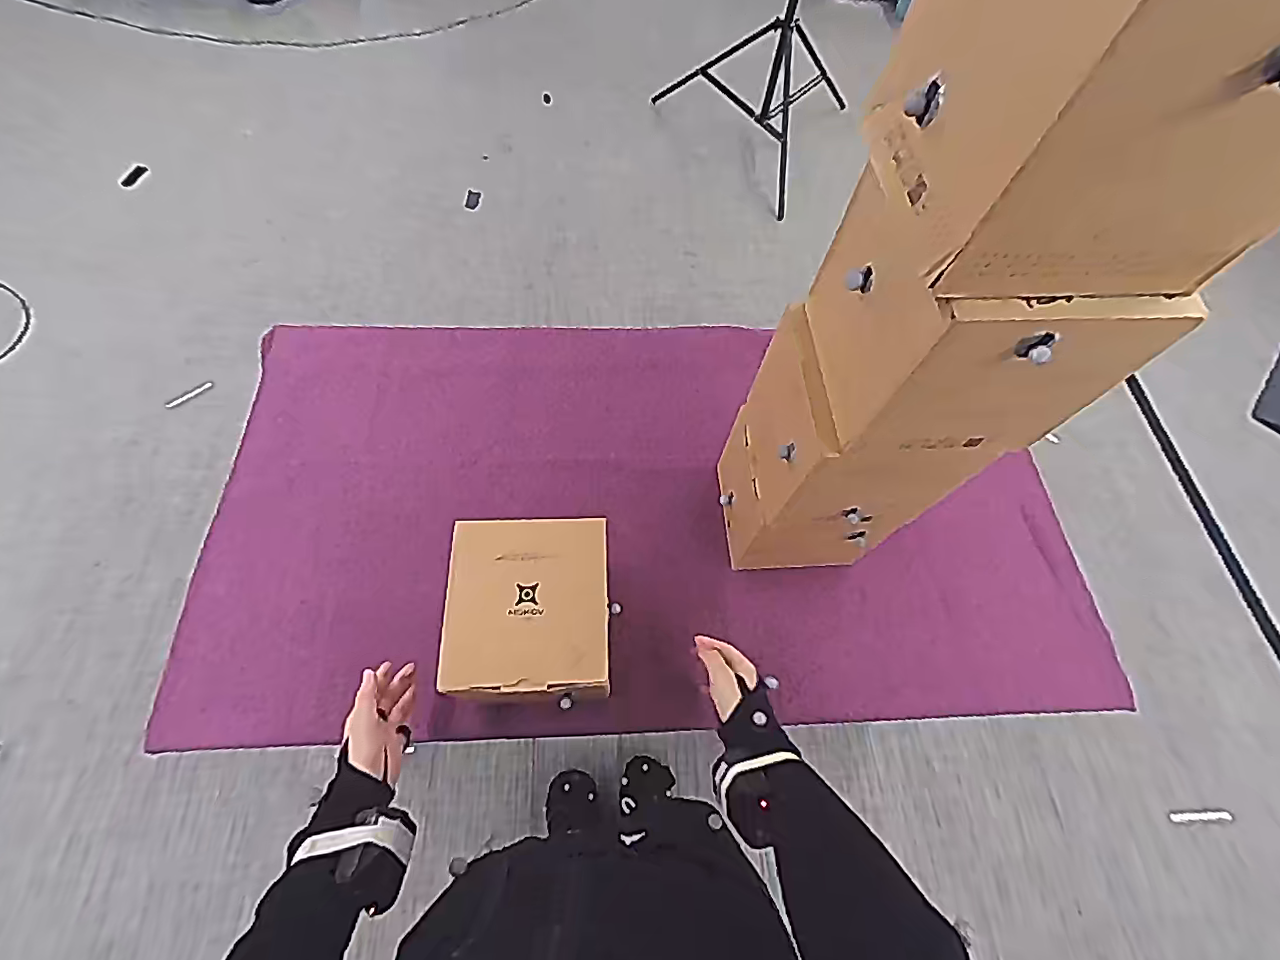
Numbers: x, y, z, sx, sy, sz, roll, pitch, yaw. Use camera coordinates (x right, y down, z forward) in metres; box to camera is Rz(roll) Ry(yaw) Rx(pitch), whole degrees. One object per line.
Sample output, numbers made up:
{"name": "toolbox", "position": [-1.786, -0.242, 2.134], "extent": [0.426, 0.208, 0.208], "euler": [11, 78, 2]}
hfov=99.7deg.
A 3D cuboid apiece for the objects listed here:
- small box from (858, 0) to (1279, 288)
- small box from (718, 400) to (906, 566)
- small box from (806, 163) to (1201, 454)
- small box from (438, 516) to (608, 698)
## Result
{"name": "small box", "position": [0.249, -0.221, 0.287], "extent": [0.179, 0.176, 0.168], "euler": [-3, 64, -5]}
{"name": "small box", "position": [0.212, 0.010, 0.719], "extent": [0.179, 0.176, 0.168], "euler": [-2, 63, -4]}
{"name": "small box", "position": [0.248, -0.138, 0.428], "extent": [0.168, 0.176, 0.179], "euler": [-2, 63, -4]}
{"name": "small box", "position": [-0.122, 0.155, 0.629], "extent": [0.168, 0.176, 0.179], "euler": [-2, 63, -5]}
